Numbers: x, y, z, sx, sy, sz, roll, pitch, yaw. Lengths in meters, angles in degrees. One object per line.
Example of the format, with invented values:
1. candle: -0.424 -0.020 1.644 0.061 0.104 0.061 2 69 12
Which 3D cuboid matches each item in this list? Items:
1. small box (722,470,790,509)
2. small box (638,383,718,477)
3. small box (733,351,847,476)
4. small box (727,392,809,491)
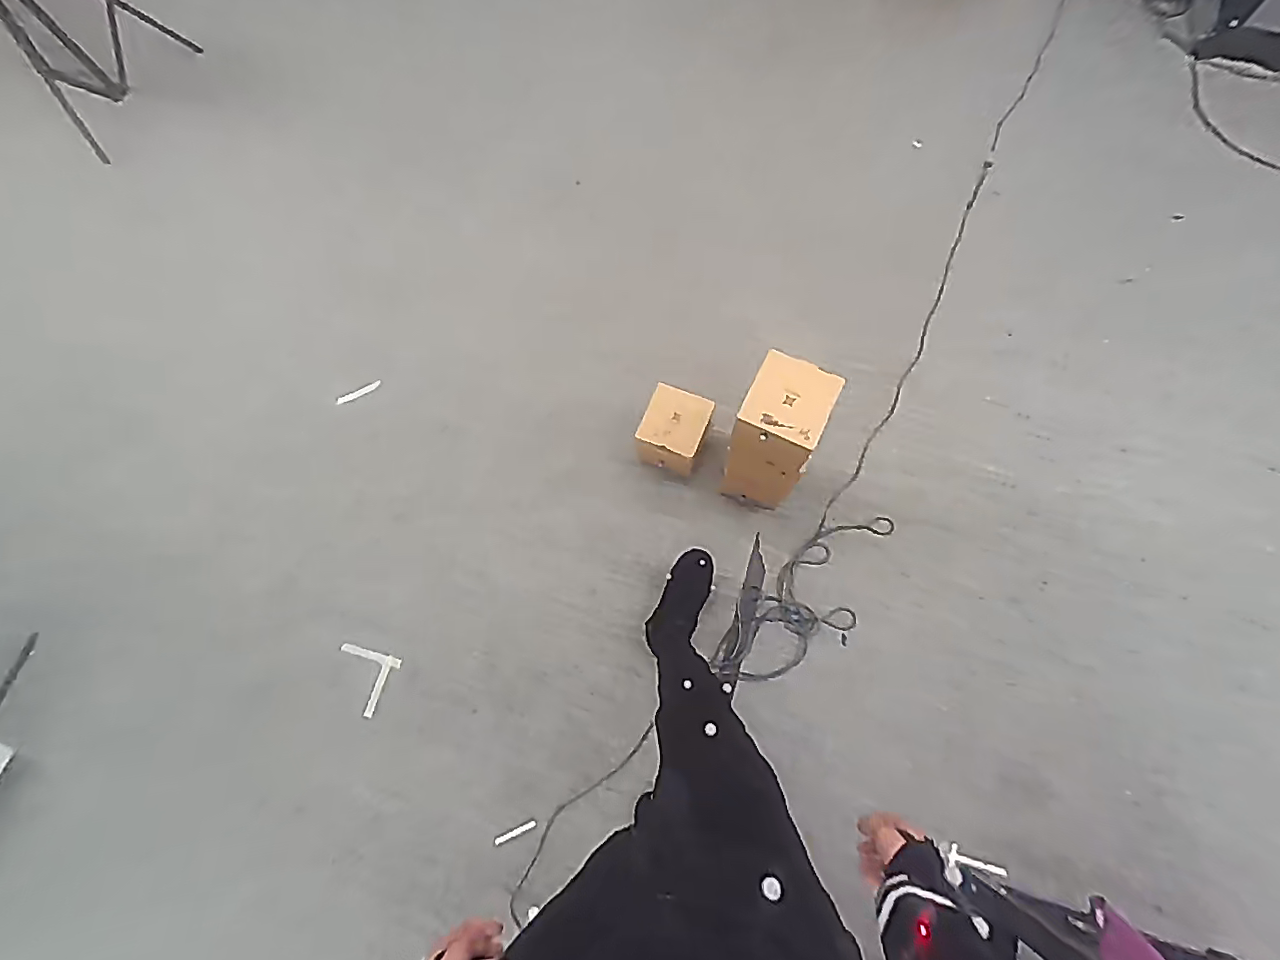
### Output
1. small box: 0.328 -0.040 1.467 0.168 0.176 0.179 17 75 8
2. small box: 0.103 -0.134 1.504 0.168 0.176 0.179 22 76 10
3. small box: 0.309 -0.135 1.155 0.168 0.176 0.179 26 75 11
4. small box: 0.320 -0.087 1.312 0.179 0.176 0.168 19 74 9
